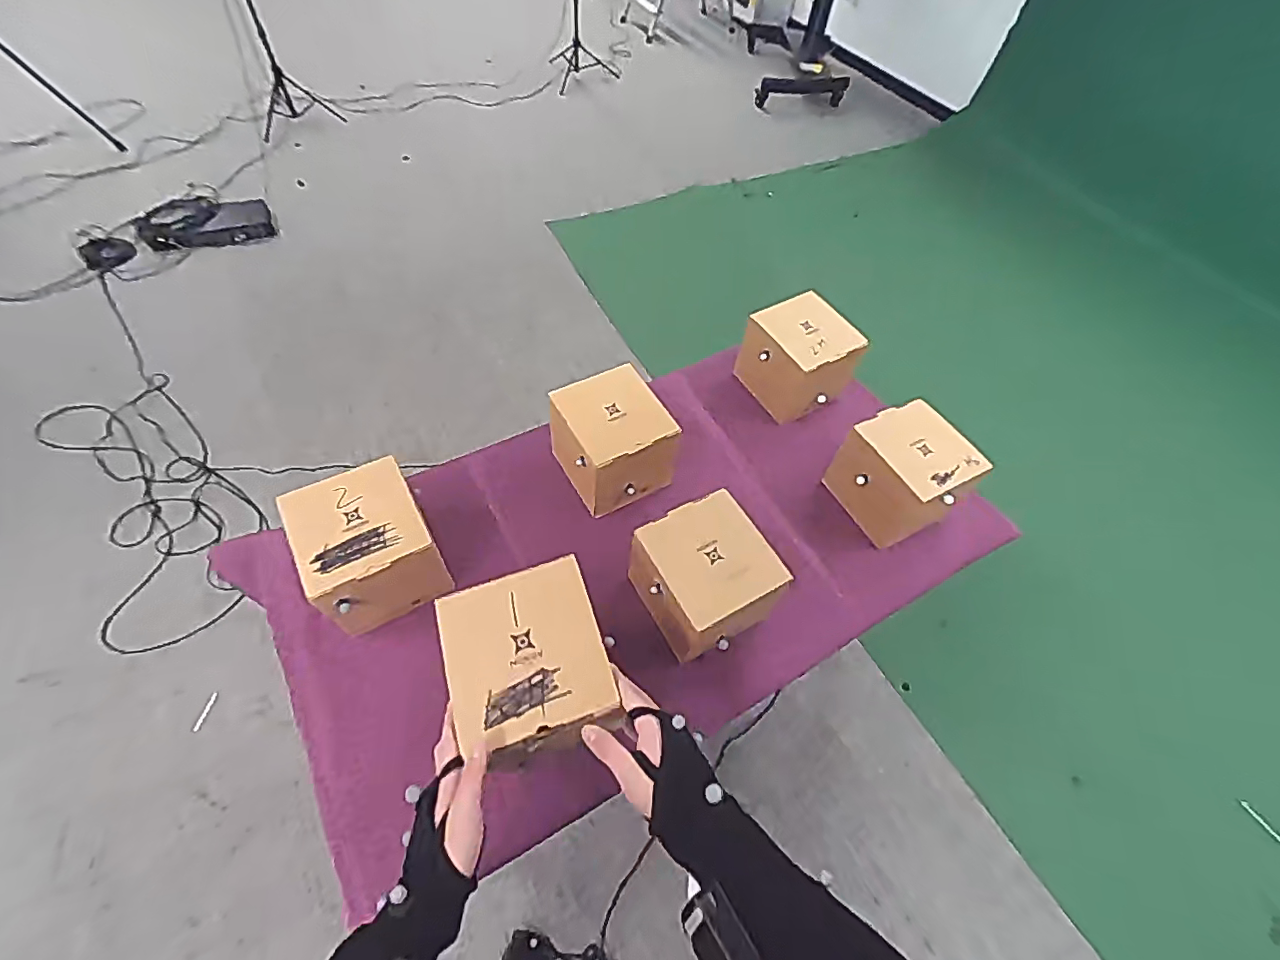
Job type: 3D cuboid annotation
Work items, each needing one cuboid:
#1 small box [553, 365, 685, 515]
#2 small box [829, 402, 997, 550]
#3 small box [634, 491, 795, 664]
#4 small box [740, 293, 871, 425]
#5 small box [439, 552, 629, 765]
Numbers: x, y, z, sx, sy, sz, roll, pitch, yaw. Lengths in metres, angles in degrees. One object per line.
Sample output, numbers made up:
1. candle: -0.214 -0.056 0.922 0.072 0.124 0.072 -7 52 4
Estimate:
1. small box: -0.046 -0.068 0.968 0.168 0.176 0.179 -24 63 -21
2. small box: 0.475 -0.005 0.974 0.168 0.176 0.179 -22 59 -17
3. small box: 0.101 0.153 0.834 0.168 0.176 0.179 -23 61 -19
4. small box: 0.329 -0.247 1.119 0.168 0.176 0.179 -25 63 -17
5. small box: -0.114 0.214 0.630 0.168 0.176 0.179 -17 60 -9
